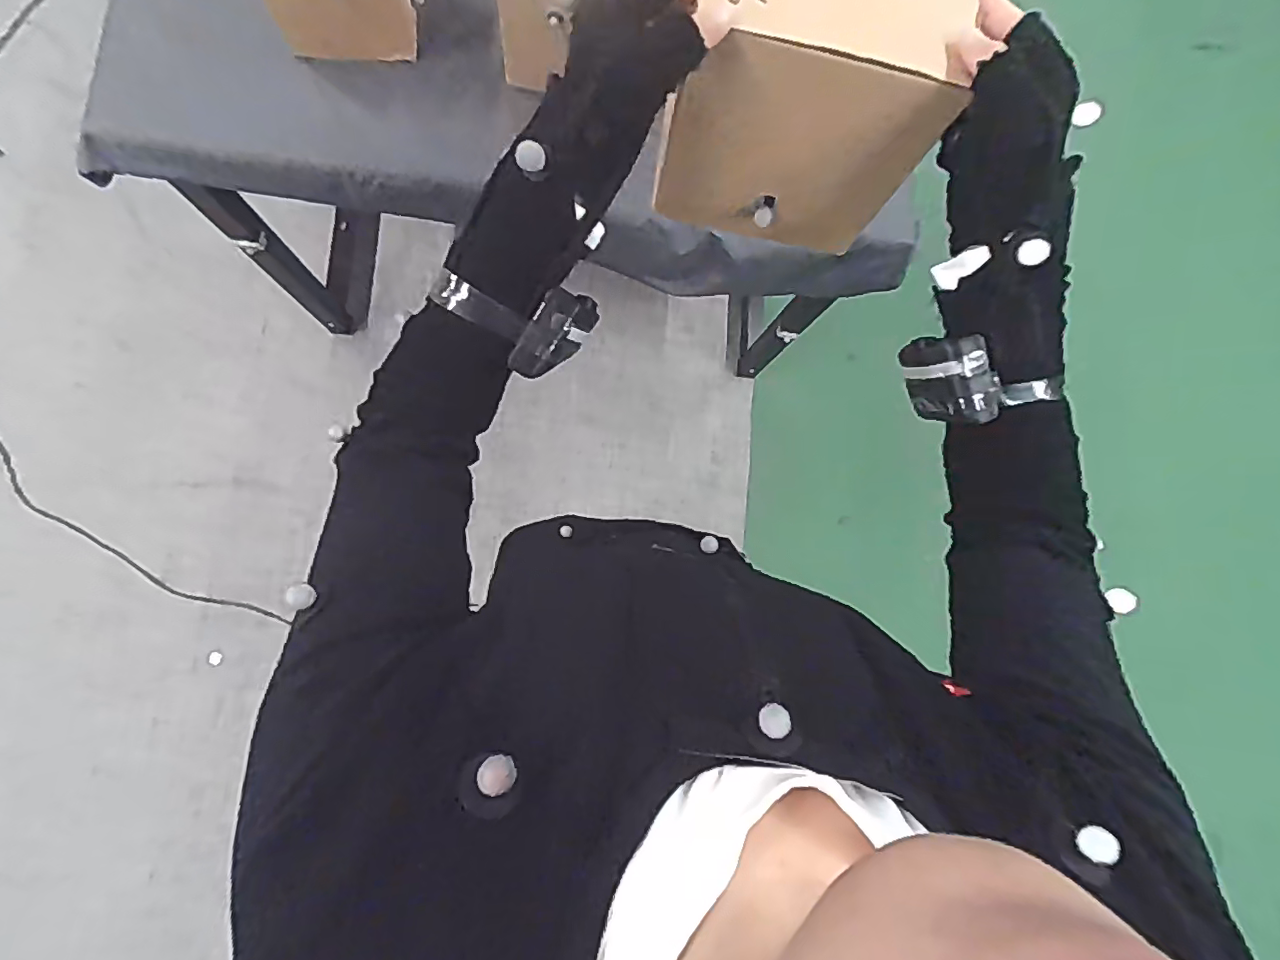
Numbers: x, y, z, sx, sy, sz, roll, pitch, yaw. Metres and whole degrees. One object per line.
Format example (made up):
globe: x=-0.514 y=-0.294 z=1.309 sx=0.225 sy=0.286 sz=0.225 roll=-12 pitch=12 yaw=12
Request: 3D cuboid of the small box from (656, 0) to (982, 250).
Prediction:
small box: x=0.120 y=-0.304 z=0.410 sx=0.179 sy=0.176 sz=0.168 roll=10 pitch=77 yaw=-6

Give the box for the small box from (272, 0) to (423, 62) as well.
small box: x=-0.407 y=-0.708 z=0.728 sx=0.179 sy=0.176 sz=0.168 roll=-4 pitch=85 yaw=-9

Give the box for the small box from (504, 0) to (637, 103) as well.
small box: x=-0.094 y=-0.679 z=0.764 sx=0.179 sy=0.176 sz=0.168 roll=7 pitch=82 yaw=-7
